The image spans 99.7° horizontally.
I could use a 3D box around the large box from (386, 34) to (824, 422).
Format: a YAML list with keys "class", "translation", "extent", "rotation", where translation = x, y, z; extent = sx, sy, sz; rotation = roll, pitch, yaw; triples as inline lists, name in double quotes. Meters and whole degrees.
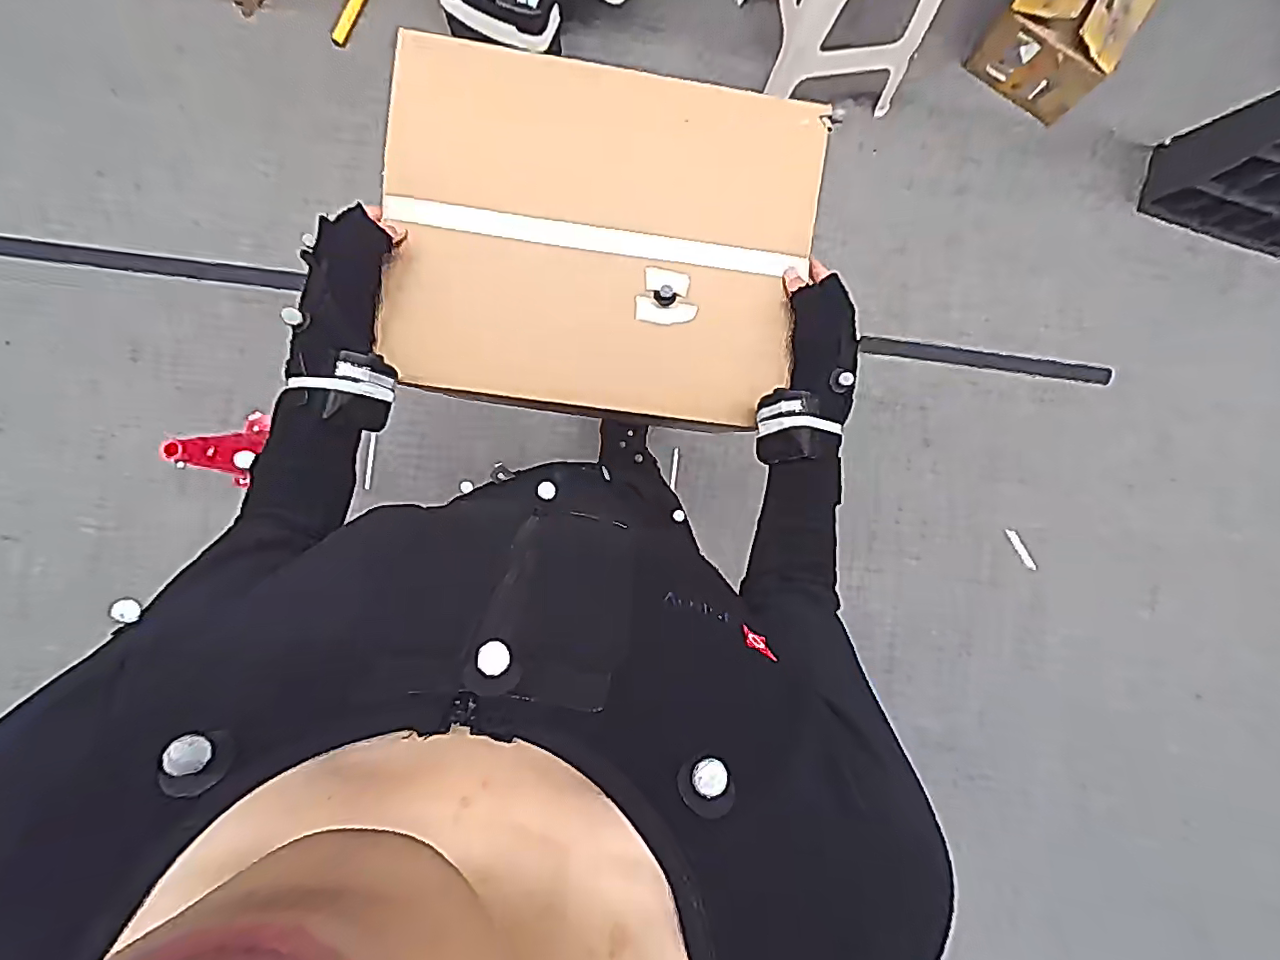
- class: "large box"
  translation: [-0.044, -0.250, 0.668]
  extent: [0.408, 0.320, 0.320]
  rotation: [7, 95, -5]

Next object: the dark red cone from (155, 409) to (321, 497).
- class: "dark red cone"
  translation: [-0.911, -0.069, 1.208]
  extent: [0.201, 0.394, 0.202]
  rotation: [12, 90, -5]
